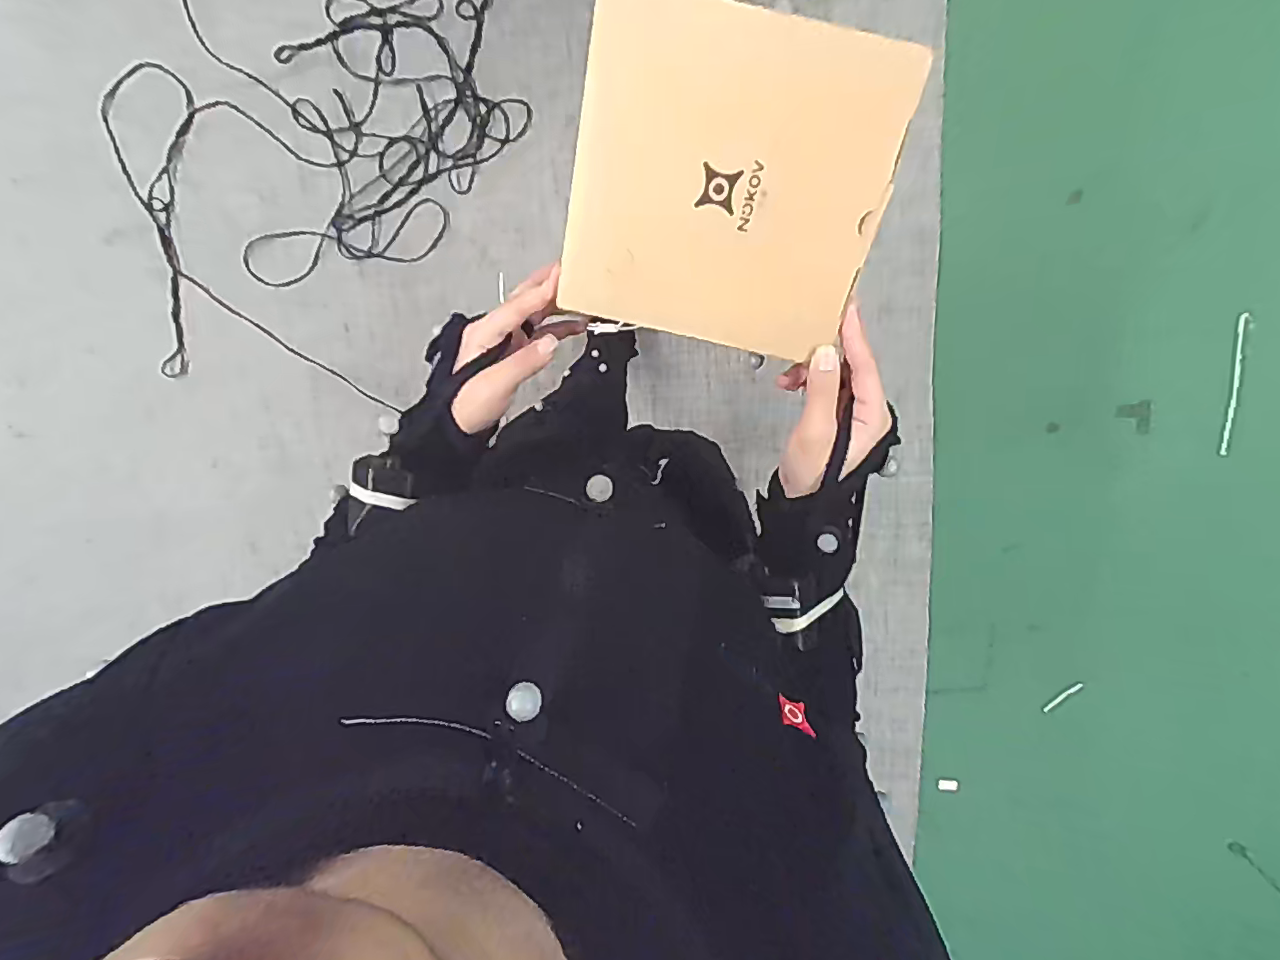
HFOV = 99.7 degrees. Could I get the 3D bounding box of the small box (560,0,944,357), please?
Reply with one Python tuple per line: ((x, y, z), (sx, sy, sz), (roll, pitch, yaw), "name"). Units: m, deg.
((0.058, -0.199, 0.374), (0.179, 0.176, 0.168), (13, 115, -2), "small box")
